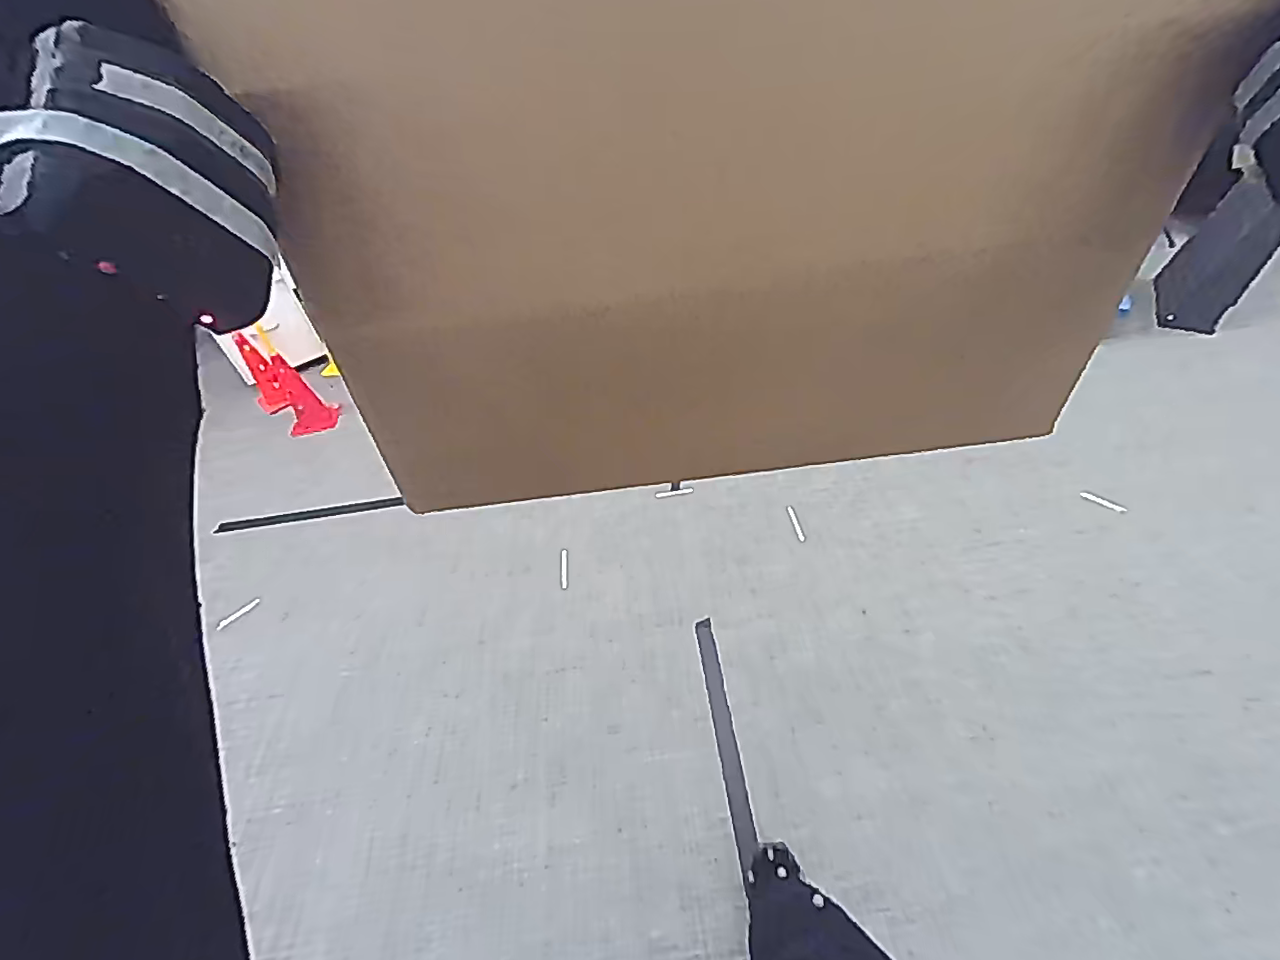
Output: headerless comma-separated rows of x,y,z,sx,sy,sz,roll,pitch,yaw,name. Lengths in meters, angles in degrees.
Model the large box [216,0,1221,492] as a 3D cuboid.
0.032,-0.222,0.363,0.408,0.320,0.320,-7,42,-3,large box
